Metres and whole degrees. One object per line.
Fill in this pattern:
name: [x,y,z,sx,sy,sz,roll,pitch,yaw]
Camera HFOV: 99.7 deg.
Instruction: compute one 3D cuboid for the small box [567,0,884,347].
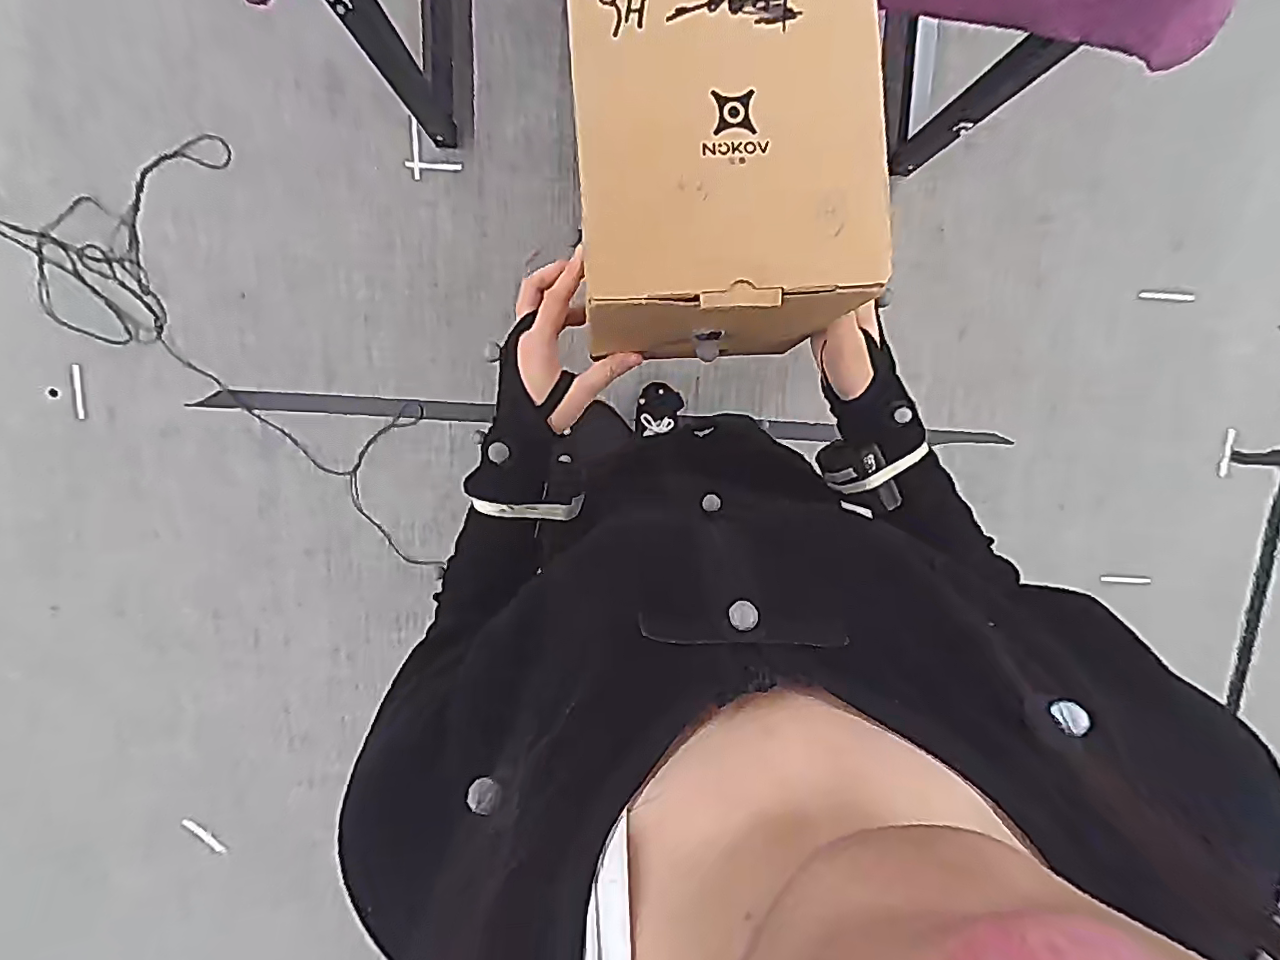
small box: [0.043,-0.191,0.365,0.168,0.176,0.179,-4,92,-4]
